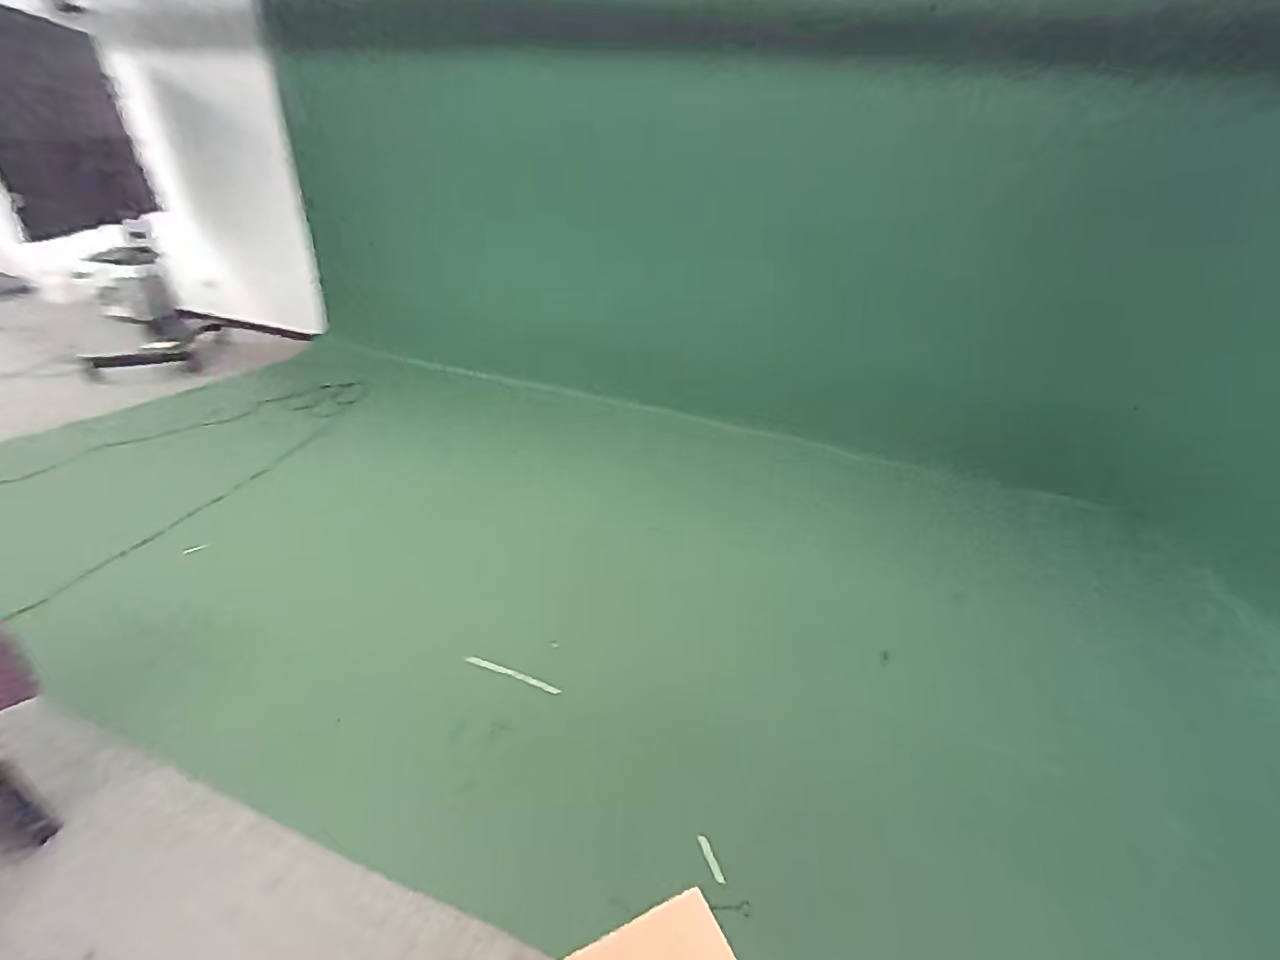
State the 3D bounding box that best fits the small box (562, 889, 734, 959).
[{"bbox_3d":[-0.005,0.432,0.356,0.179,0.176,0.168,-9,33,-27],"label":"small box"}]
